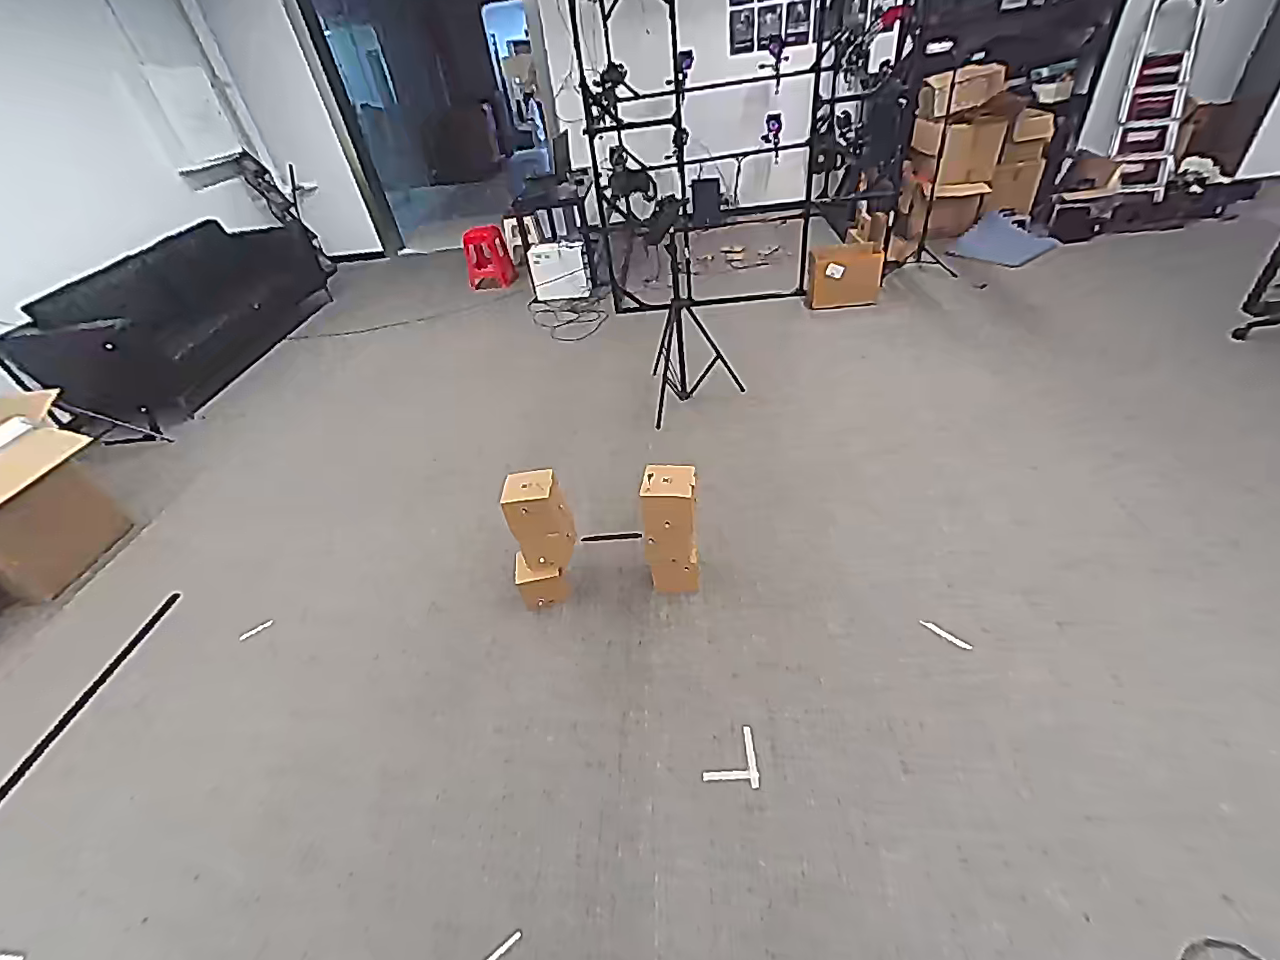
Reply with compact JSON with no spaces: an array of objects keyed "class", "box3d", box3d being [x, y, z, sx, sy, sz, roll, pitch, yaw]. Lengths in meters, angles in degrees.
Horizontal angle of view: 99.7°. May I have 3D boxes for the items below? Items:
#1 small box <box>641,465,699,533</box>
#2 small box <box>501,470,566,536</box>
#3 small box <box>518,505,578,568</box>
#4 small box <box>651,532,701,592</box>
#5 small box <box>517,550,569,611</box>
[{"class":"small box","box3d":[0.109,0.068,1.874,0.179,0.176,0.168,3,39,11]},{"class":"small box","box3d":[-0.378,0.088,1.948,0.179,0.176,0.168,-7,38,4]},{"class":"small box","box3d":[-0.341,0.214,2.047,0.168,0.176,0.179,-2,39,10]},{"class":"small box","box3d":[0.141,0.318,2.085,0.179,0.176,0.168,-3,39,6]},{"class":"small box","box3d":[-0.375,0.381,2.110,0.168,0.176,0.179,-11,39,-2]}]
